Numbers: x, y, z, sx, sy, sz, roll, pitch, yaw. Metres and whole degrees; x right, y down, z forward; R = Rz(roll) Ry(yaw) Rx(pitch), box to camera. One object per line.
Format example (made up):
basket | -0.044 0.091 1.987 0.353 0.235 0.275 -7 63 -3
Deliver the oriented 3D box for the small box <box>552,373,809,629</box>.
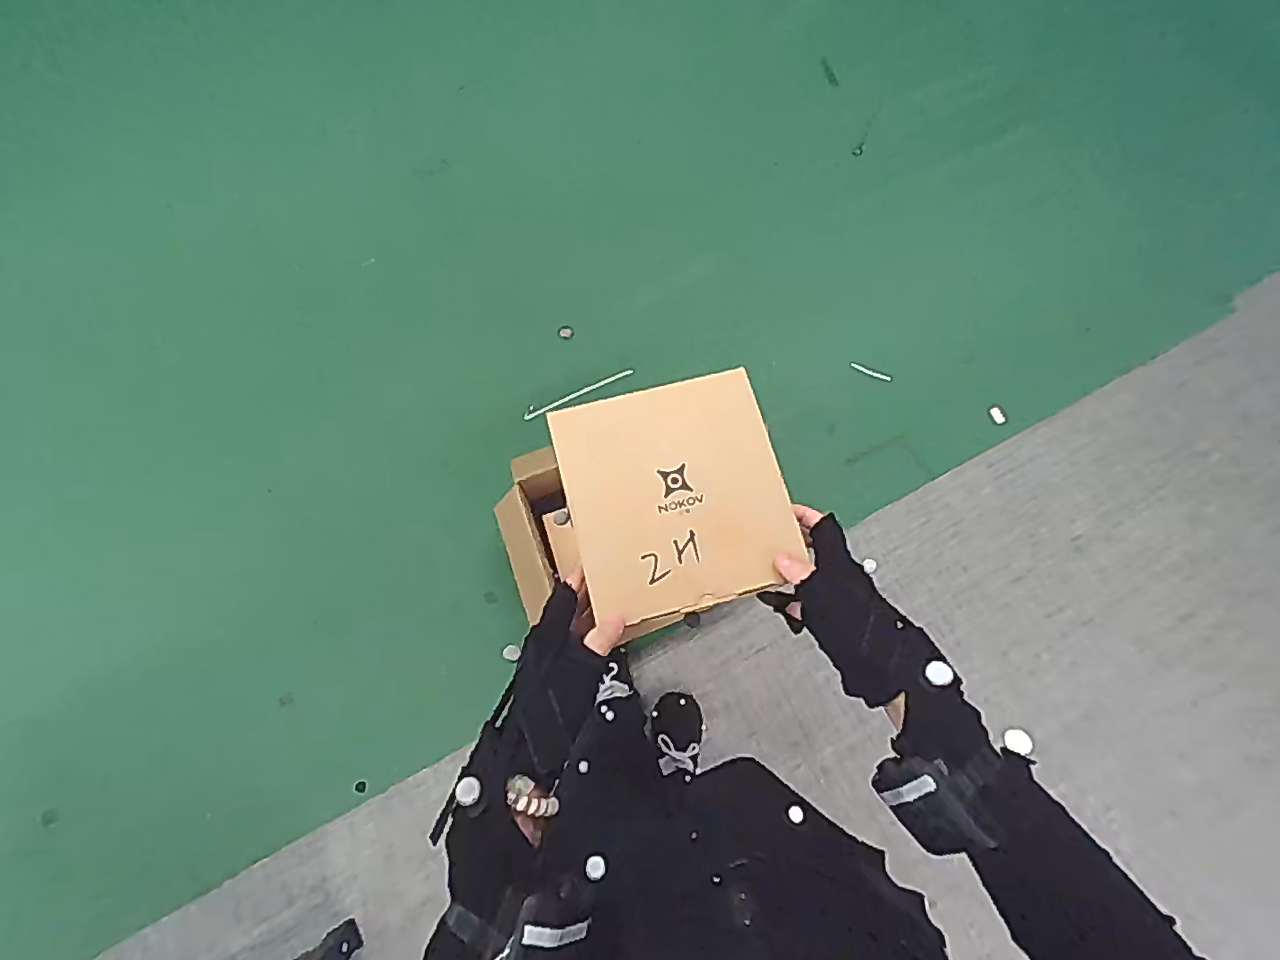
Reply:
small box | 0.024 0.031 0.492 0.168 0.176 0.179 -14 76 -5
